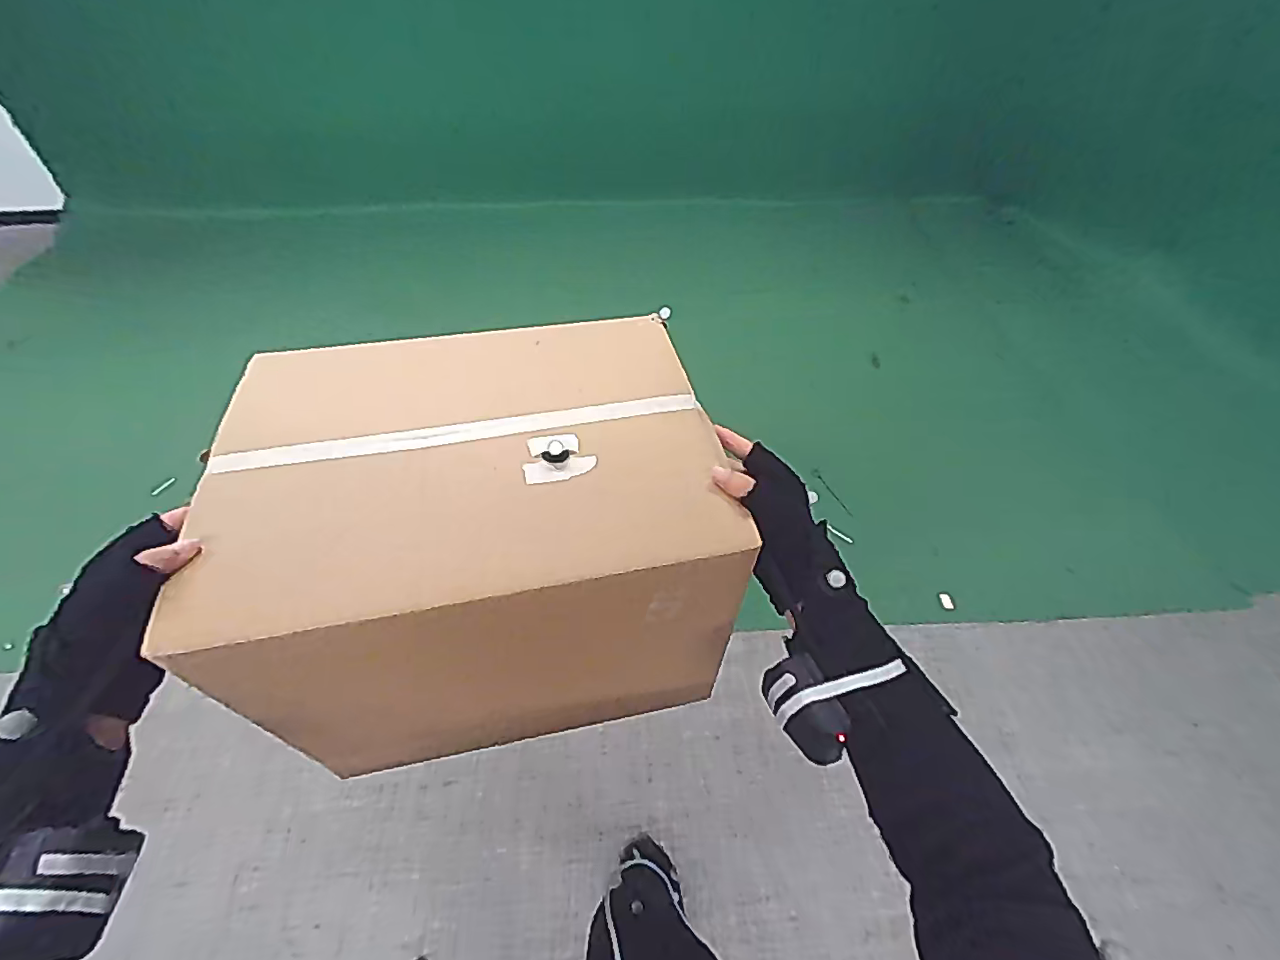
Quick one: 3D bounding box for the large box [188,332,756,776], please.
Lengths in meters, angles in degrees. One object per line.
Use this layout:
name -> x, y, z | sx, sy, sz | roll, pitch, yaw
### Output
large box -> -0.142, 0.072, 0.587 | 0.408, 0.320, 0.320 | -8, 49, -11
